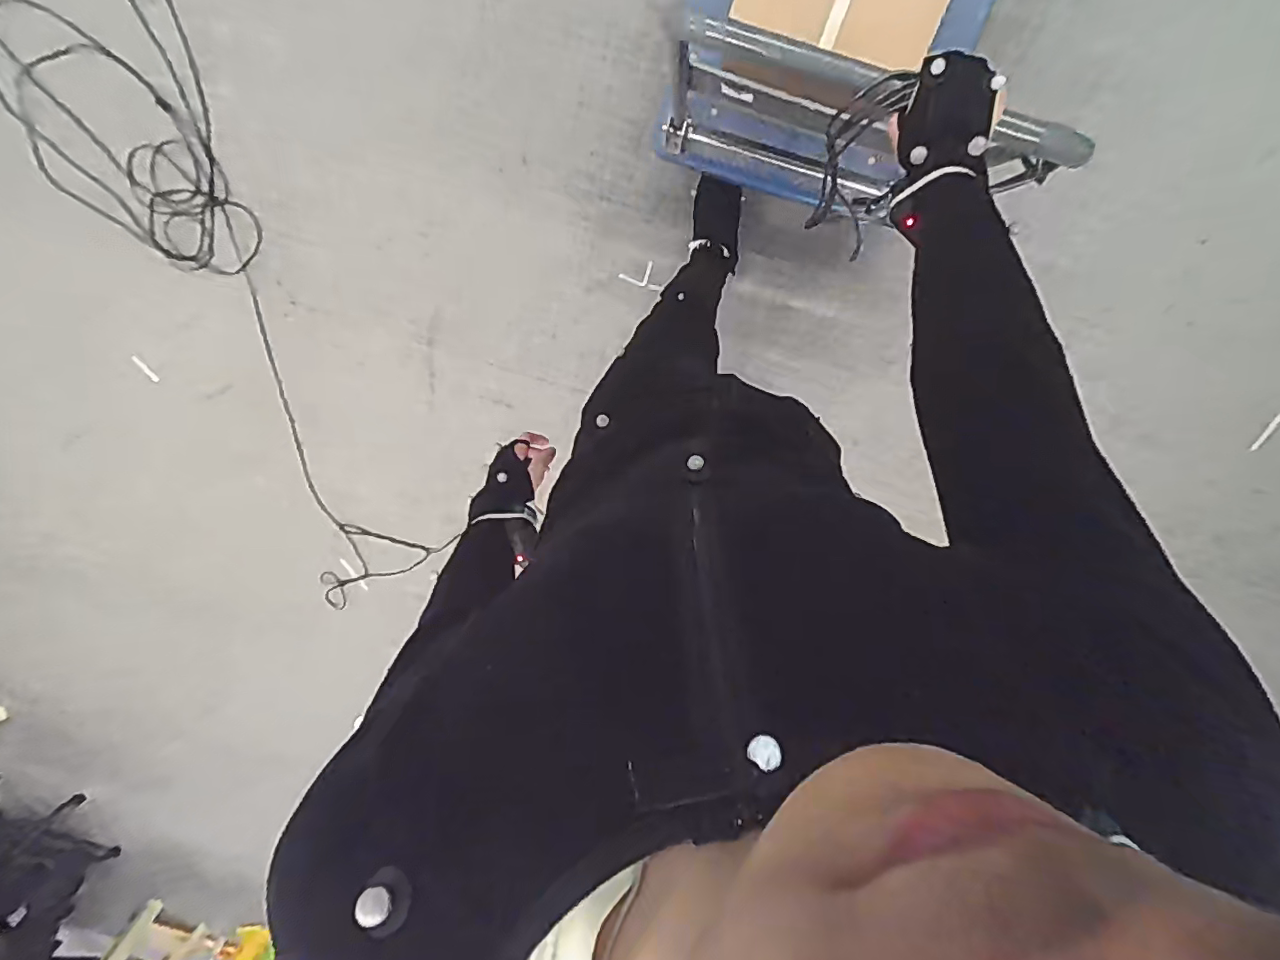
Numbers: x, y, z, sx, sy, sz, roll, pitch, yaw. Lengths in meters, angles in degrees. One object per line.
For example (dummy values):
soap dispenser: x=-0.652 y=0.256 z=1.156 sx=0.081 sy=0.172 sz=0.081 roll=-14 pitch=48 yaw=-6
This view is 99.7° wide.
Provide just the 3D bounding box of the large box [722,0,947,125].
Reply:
large box: x=0.350 y=-0.894 z=0.903 sx=0.320 sy=0.320 sz=0.408 roll=18 pitch=112 yaw=-3
